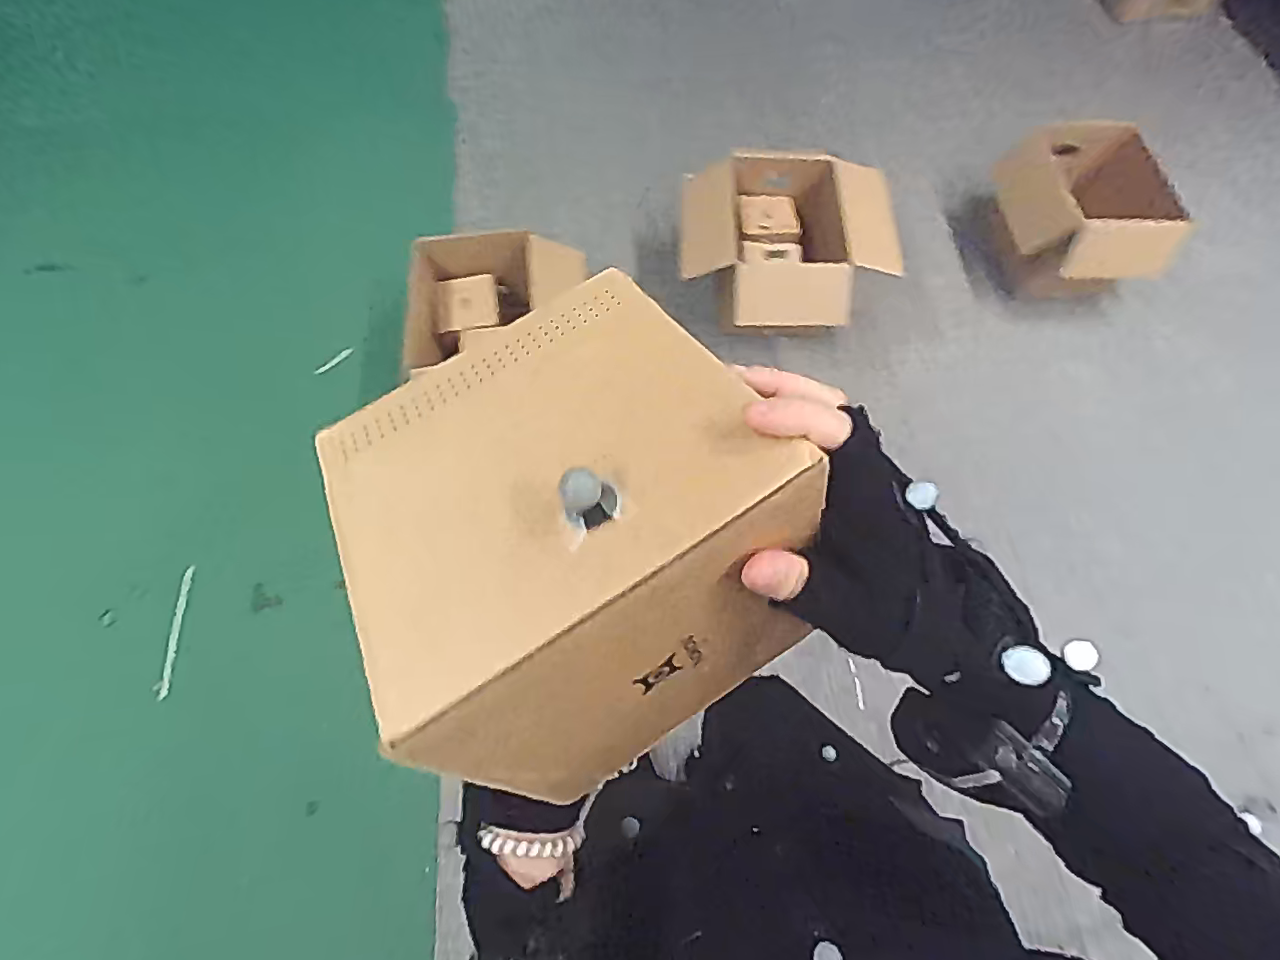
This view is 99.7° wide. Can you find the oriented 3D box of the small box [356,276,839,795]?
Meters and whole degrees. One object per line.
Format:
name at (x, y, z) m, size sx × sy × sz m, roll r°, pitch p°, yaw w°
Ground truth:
small box at (-0.024, 0.026, 0.289) m, size 0.179 × 0.168 × 0.176 m, roll -31°, pitch 52°, yaw -9°
